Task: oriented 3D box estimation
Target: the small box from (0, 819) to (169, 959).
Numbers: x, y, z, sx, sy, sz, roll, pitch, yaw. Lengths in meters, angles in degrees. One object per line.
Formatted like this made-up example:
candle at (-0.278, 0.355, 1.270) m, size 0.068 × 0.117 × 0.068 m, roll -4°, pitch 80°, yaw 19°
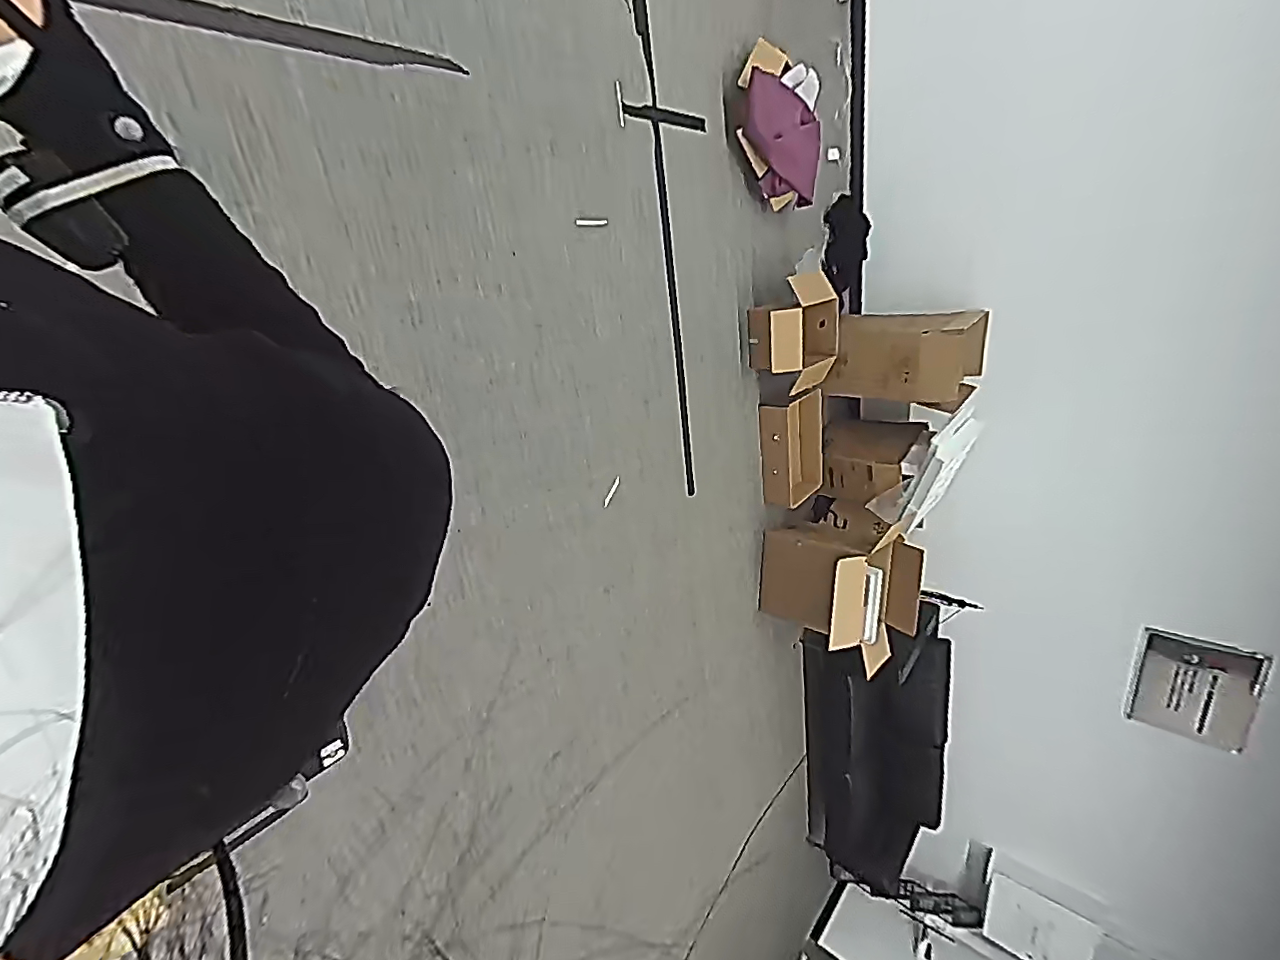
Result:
small box at (-0.994, 0.743, 0.968) m, size 0.168 × 0.176 × 0.179 m, roll -31°, pitch 120°, yaw -42°
